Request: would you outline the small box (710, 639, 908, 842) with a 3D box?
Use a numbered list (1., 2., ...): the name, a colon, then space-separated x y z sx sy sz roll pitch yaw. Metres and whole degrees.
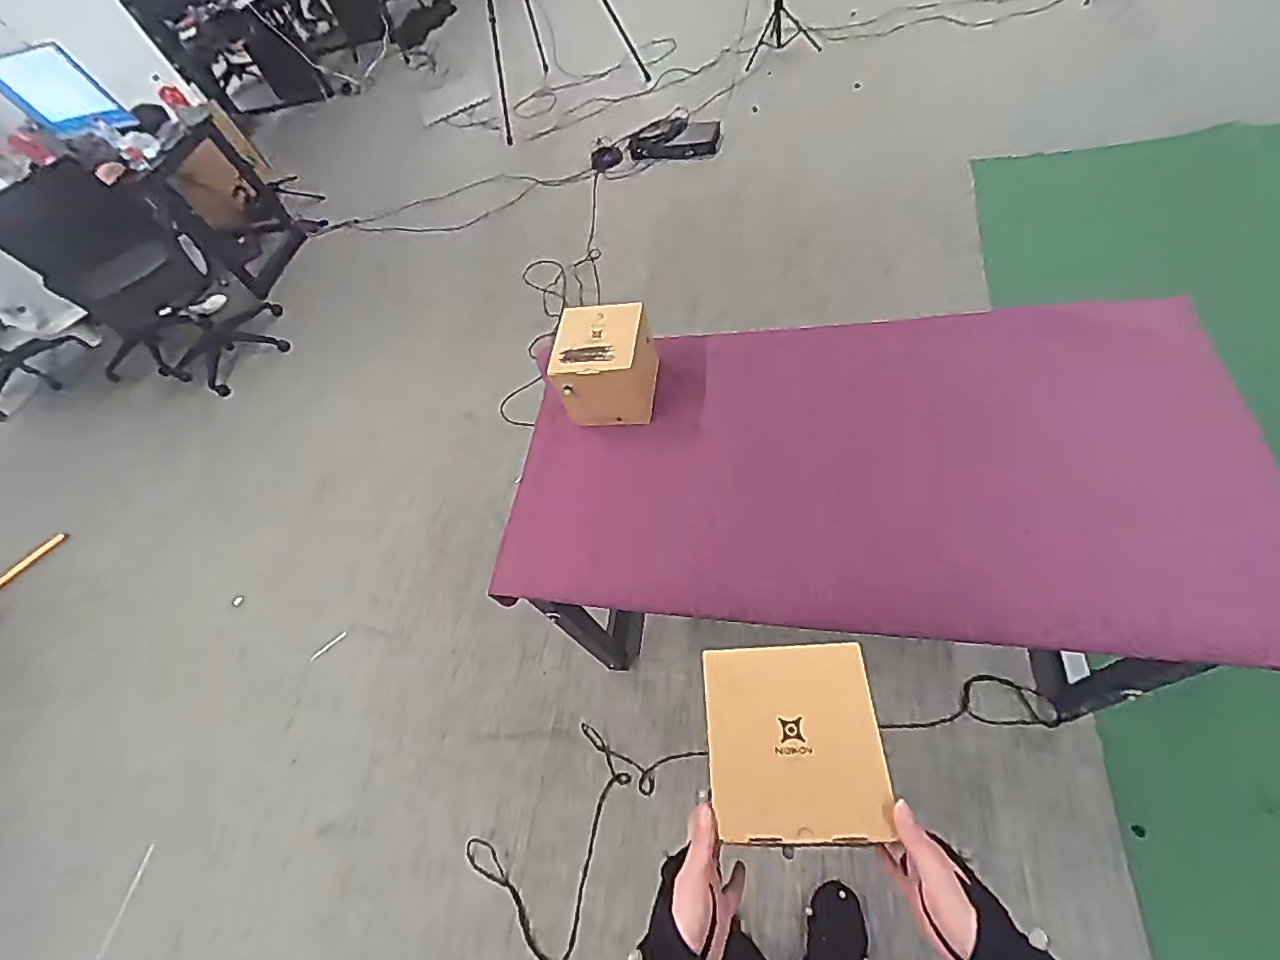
1. small box: 0.164 0.286 0.587 0.168 0.176 0.179 -5 56 8
